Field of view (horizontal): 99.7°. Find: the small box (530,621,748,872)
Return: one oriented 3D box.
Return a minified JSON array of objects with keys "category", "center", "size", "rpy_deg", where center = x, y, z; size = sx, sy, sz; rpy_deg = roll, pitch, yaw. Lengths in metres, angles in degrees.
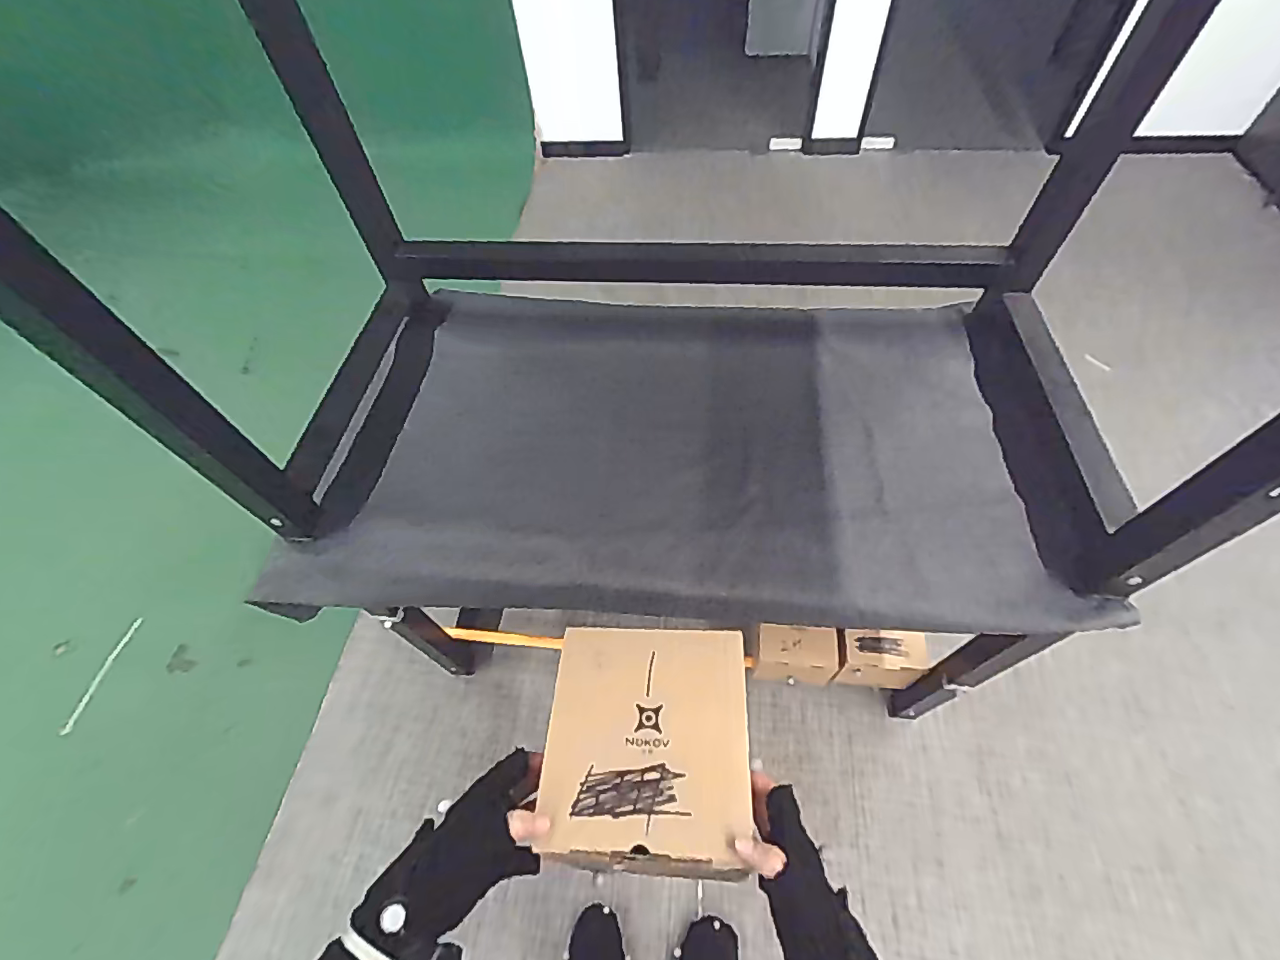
[{"category":"small box","center":[0.013,0.249,0.504],"size":[0.168,0.176,0.179],"rpy_deg":[-1,49,7]}]
